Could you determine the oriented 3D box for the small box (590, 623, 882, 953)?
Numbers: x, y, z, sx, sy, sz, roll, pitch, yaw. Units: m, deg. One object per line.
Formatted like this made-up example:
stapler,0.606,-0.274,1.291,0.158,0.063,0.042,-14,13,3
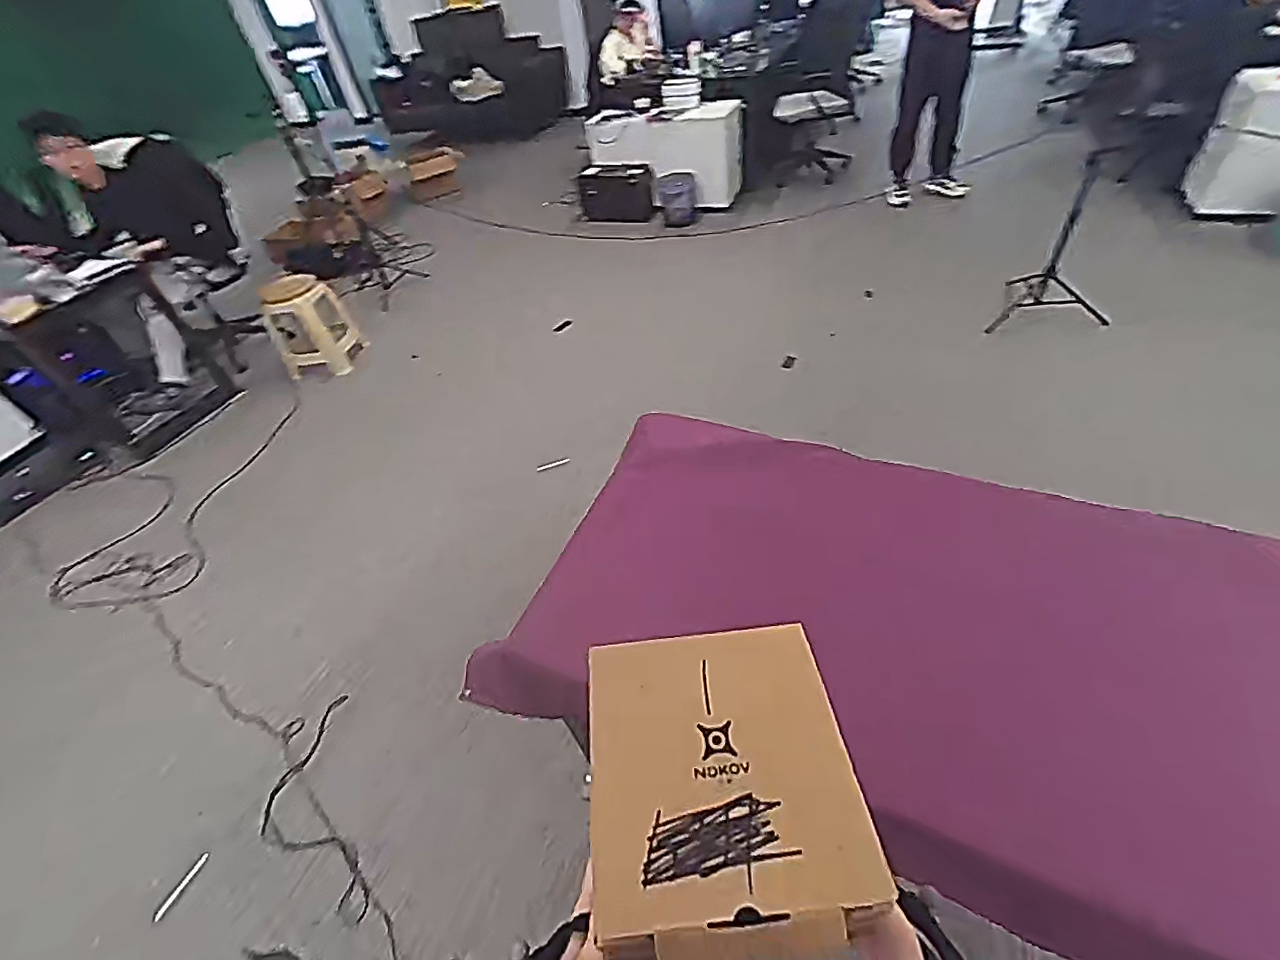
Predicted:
small box,0.055,0.235,0.410,0.168,0.176,0.179,-5,43,-1
